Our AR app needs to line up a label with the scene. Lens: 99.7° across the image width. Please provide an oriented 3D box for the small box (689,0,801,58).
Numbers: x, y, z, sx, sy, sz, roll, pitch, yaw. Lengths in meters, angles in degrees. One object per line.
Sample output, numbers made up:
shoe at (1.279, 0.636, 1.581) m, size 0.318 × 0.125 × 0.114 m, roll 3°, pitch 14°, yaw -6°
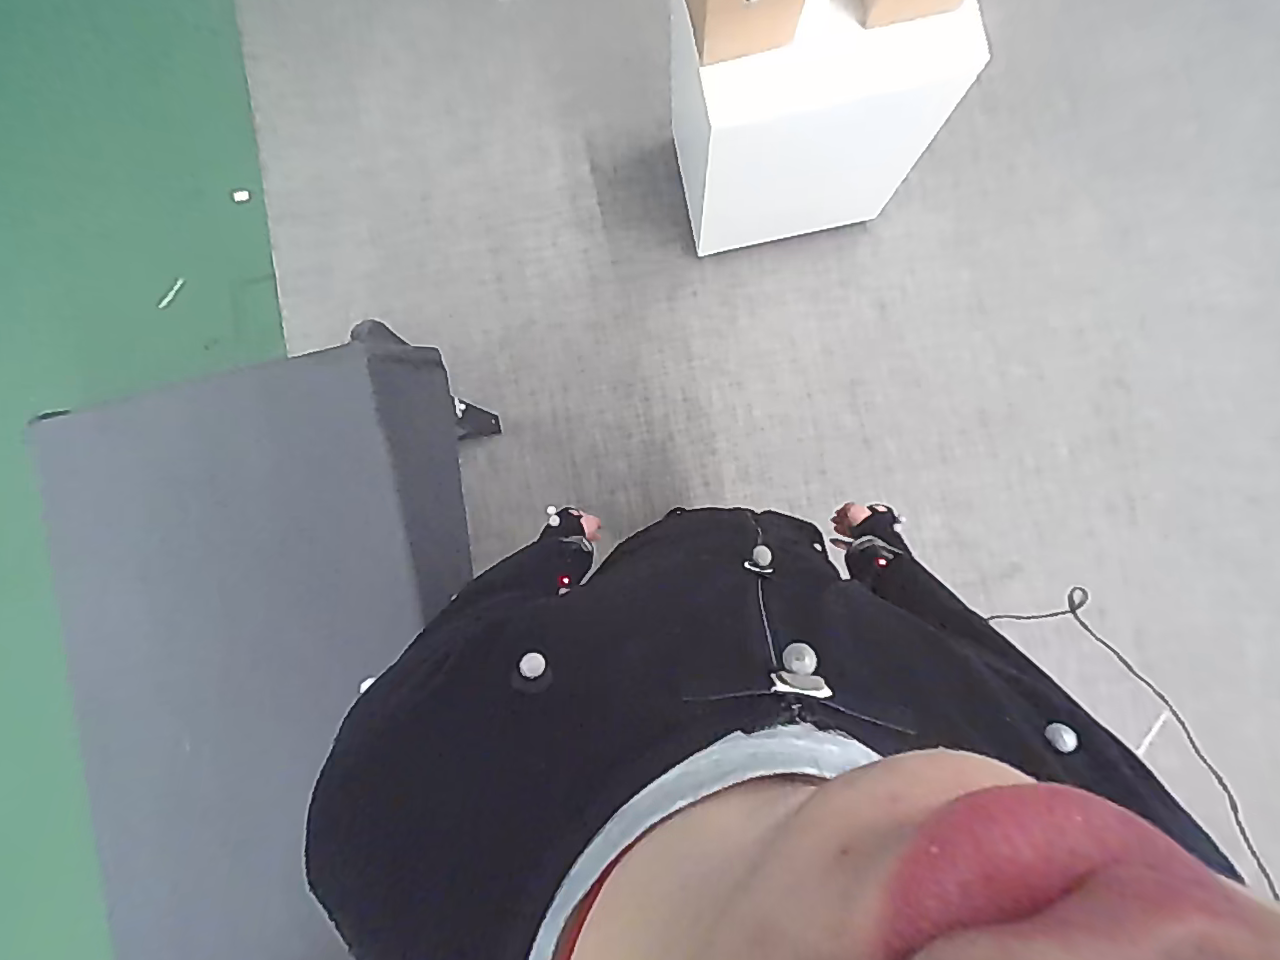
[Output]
small box at (0.173, -0.857, 0.903) m, size 0.179 × 0.176 × 0.168 m, roll -13°, pitch 88°, yaw 2°

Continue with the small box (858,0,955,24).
small box at (0.467, -0.908, 0.887) m, size 0.179 × 0.176 × 0.168 m, roll -9°, pitch 87°, yaw 5°
